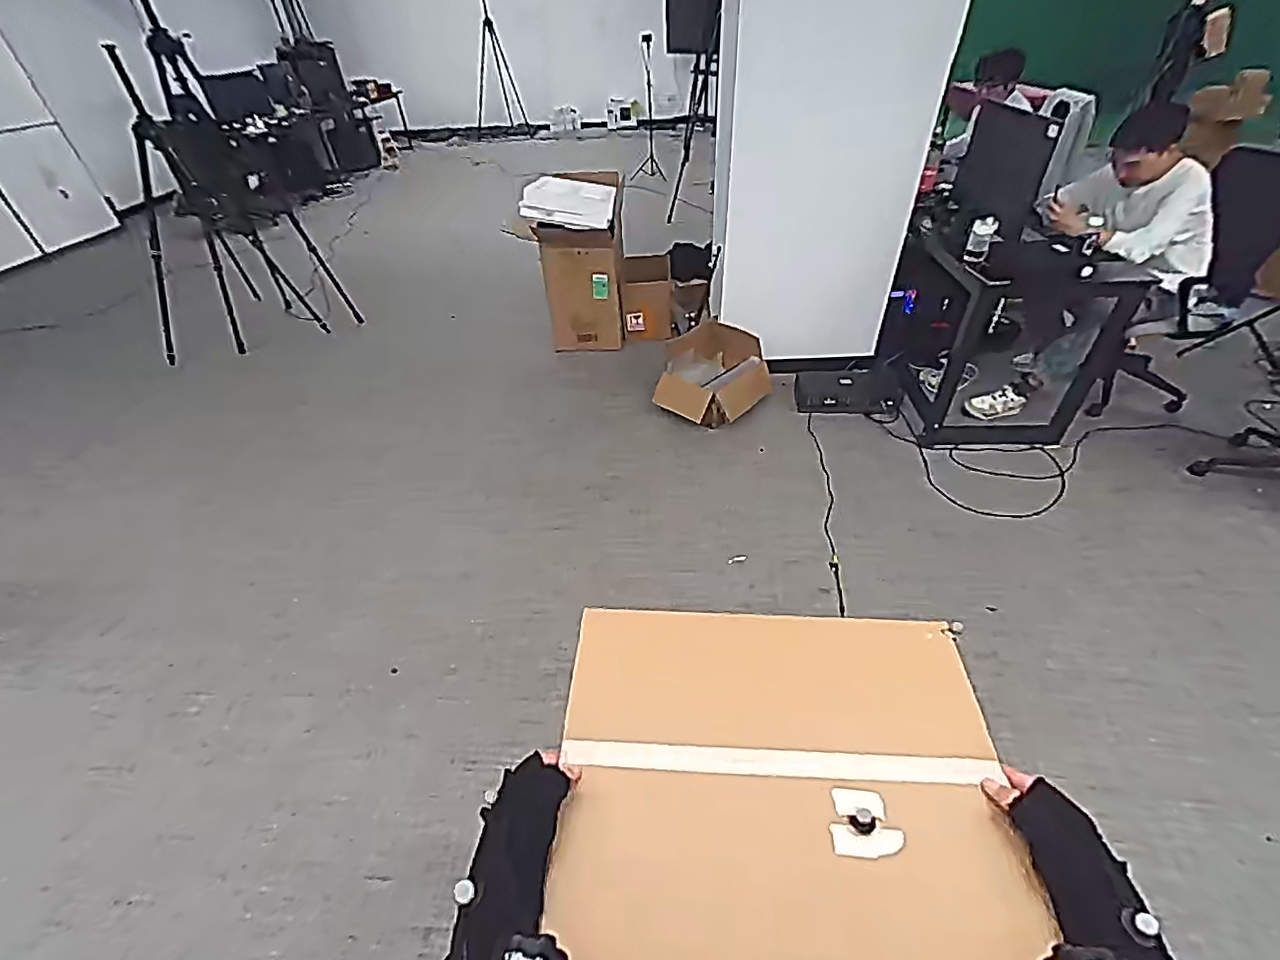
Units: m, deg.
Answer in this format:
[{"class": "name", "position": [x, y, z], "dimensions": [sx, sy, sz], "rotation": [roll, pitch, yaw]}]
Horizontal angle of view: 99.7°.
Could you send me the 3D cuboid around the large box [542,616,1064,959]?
[{"class": "large box", "position": [0.131, 0.374, 0.612], "dimensions": [0.408, 0.320, 0.320], "rotation": [1, 45, 4]}]
